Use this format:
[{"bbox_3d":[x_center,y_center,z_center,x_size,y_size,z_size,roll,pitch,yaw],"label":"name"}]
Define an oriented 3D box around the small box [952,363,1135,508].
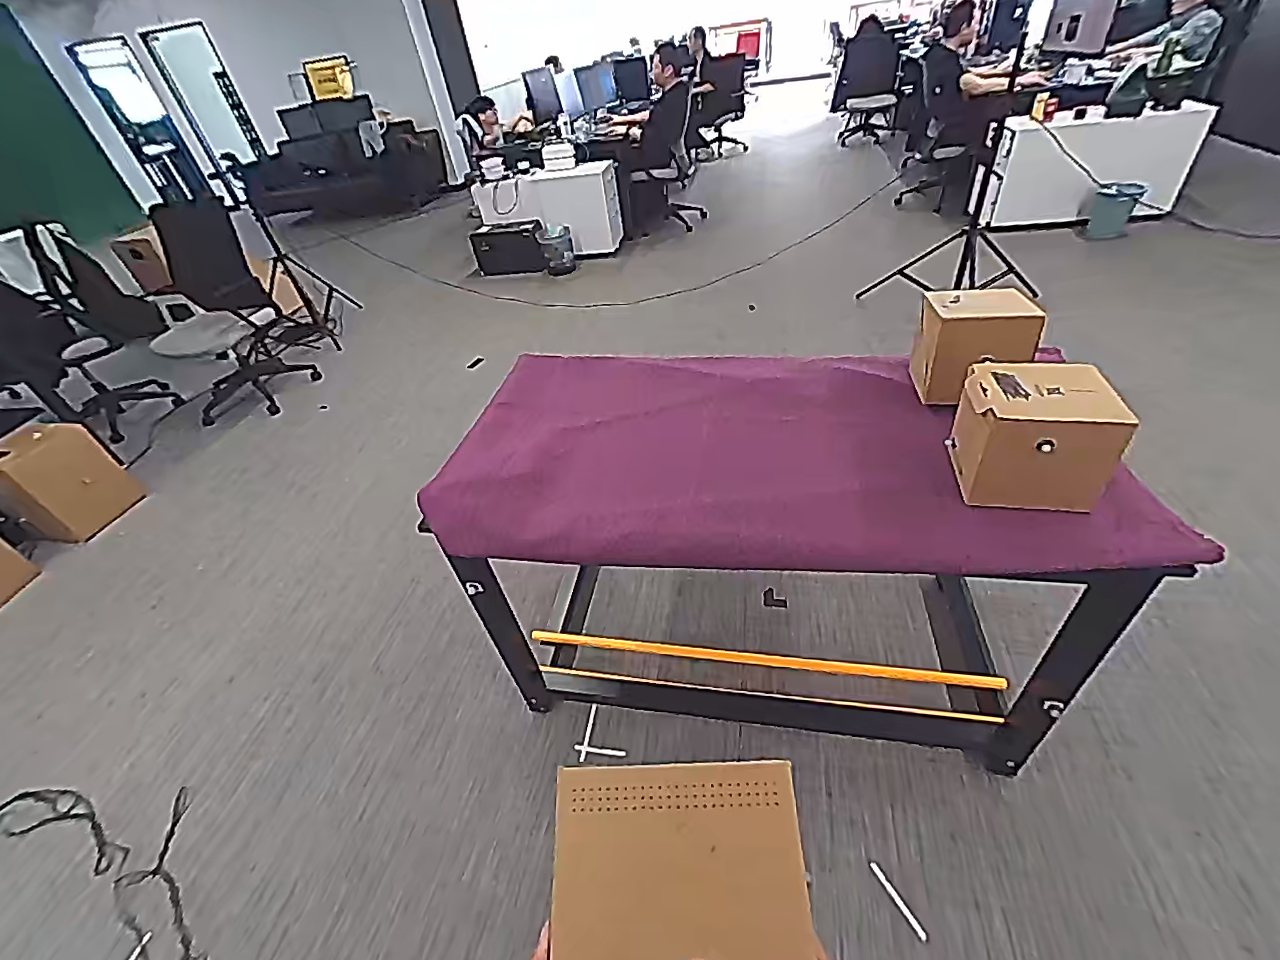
[{"bbox_3d":[0.614,-0.071,0.857,0.179,0.176,0.168,3,40,15],"label":"small box"}]
